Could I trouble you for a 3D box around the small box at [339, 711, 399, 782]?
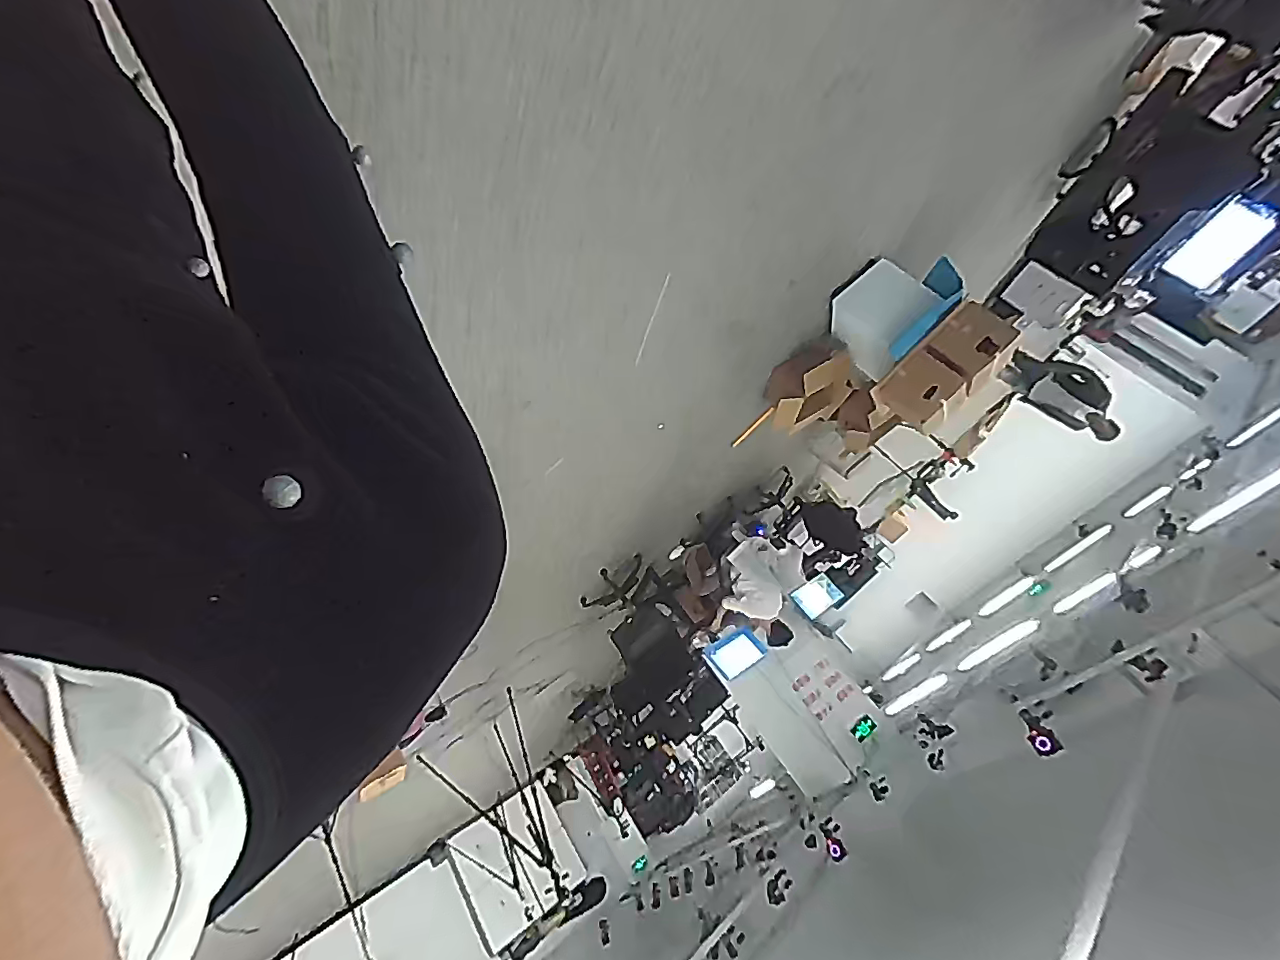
[{"bbox_3d":[-1.072,1.044,2.134,0.168,0.176,0.179,-18,149,-38],"label":"small box"}]
